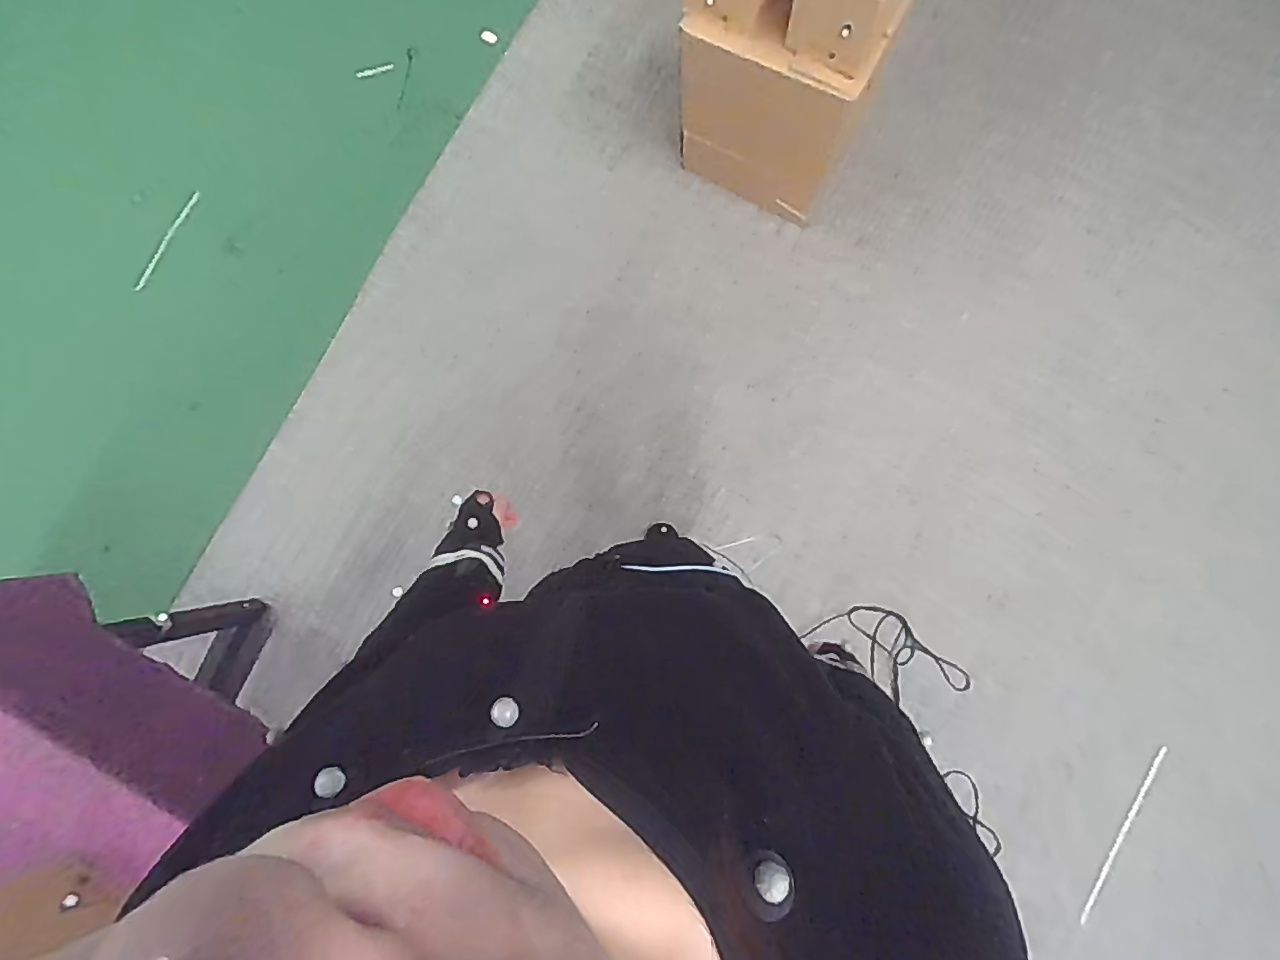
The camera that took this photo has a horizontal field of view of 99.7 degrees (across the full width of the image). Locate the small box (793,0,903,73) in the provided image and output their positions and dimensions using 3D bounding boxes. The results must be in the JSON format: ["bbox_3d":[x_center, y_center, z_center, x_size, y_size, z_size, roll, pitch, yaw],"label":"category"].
[{"bbox_3d":[0.408,-0.935,1.026,0.168,0.176,0.179,32,87,7],"label":"small box"}]

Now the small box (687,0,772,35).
[{"bbox_3d":[0.197,-1.039,1.054,0.168,0.176,0.179,28,90,5],"label":"small box"}]
